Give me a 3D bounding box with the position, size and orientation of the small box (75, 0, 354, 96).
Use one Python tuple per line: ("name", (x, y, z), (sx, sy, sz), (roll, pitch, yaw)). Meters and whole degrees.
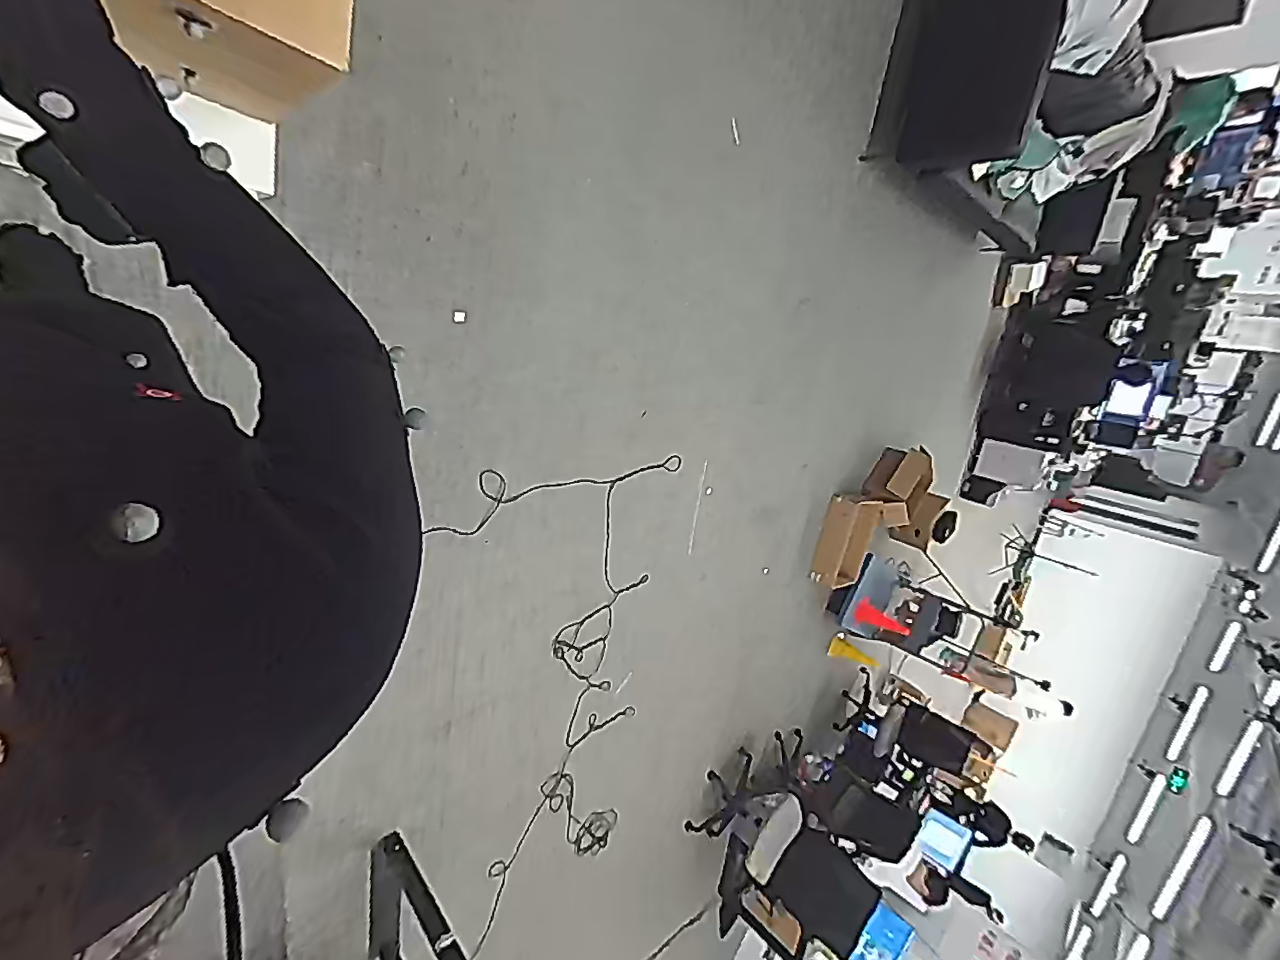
("small box", (-0.352, -0.453, 0.444), (0.179, 0.176, 0.168), (0, 107, -46))
